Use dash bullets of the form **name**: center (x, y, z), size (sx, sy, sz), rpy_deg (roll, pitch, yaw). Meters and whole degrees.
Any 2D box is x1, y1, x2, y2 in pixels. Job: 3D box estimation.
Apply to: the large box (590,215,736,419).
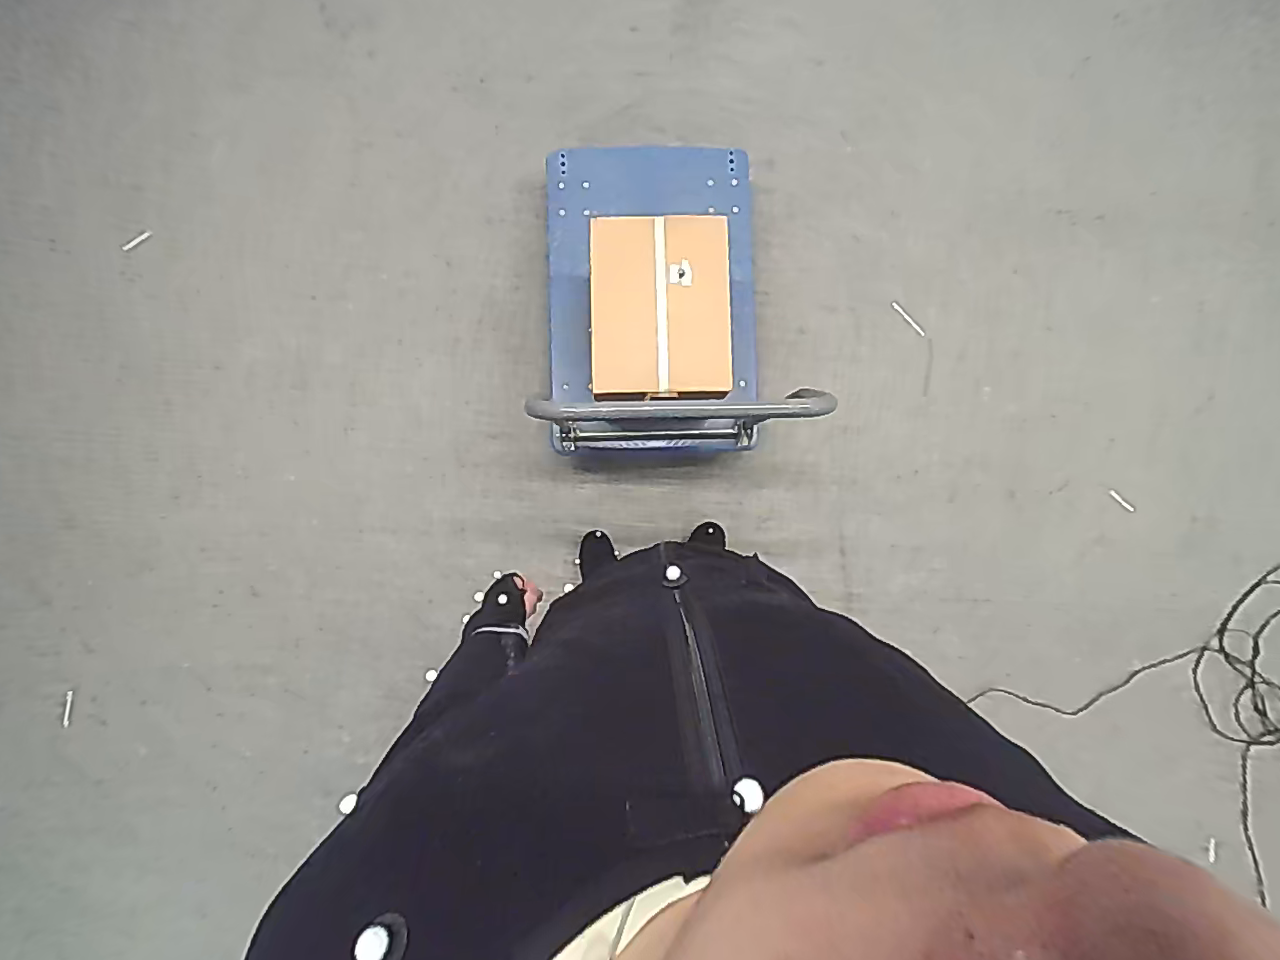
- **large box**: center (0.049, -0.381, 1.348), size (0.320, 0.320, 0.408), rpy_deg (-2, 86, -1)
